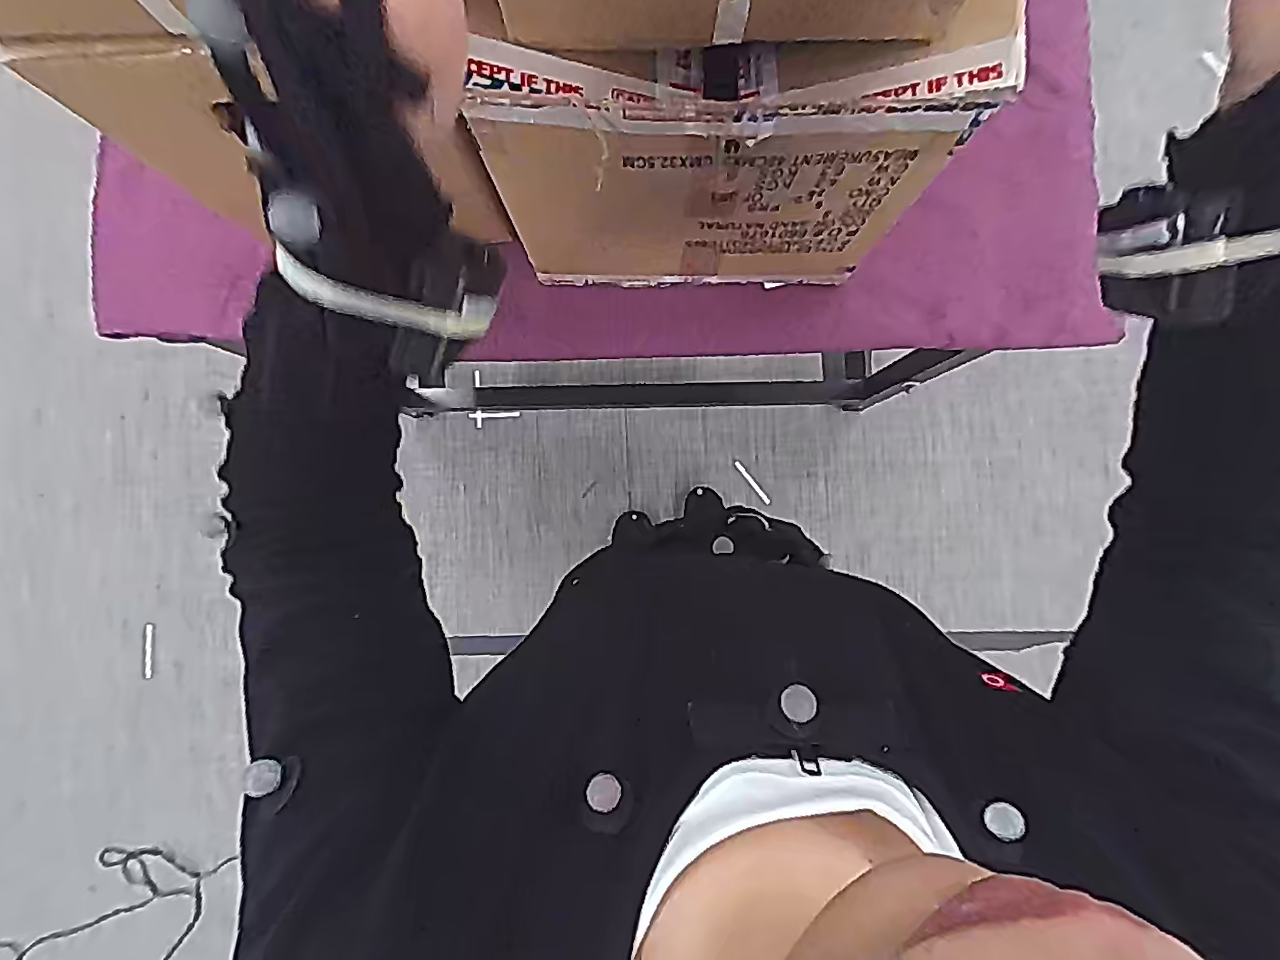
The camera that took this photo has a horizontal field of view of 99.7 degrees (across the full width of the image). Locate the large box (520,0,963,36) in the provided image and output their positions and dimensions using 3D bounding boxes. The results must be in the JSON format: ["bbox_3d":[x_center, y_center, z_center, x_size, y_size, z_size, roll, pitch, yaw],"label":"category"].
[{"bbox_3d":[0.065,-0.519,0.238,0.320,0.320,0.408,-1,88,1],"label":"large box"}]
